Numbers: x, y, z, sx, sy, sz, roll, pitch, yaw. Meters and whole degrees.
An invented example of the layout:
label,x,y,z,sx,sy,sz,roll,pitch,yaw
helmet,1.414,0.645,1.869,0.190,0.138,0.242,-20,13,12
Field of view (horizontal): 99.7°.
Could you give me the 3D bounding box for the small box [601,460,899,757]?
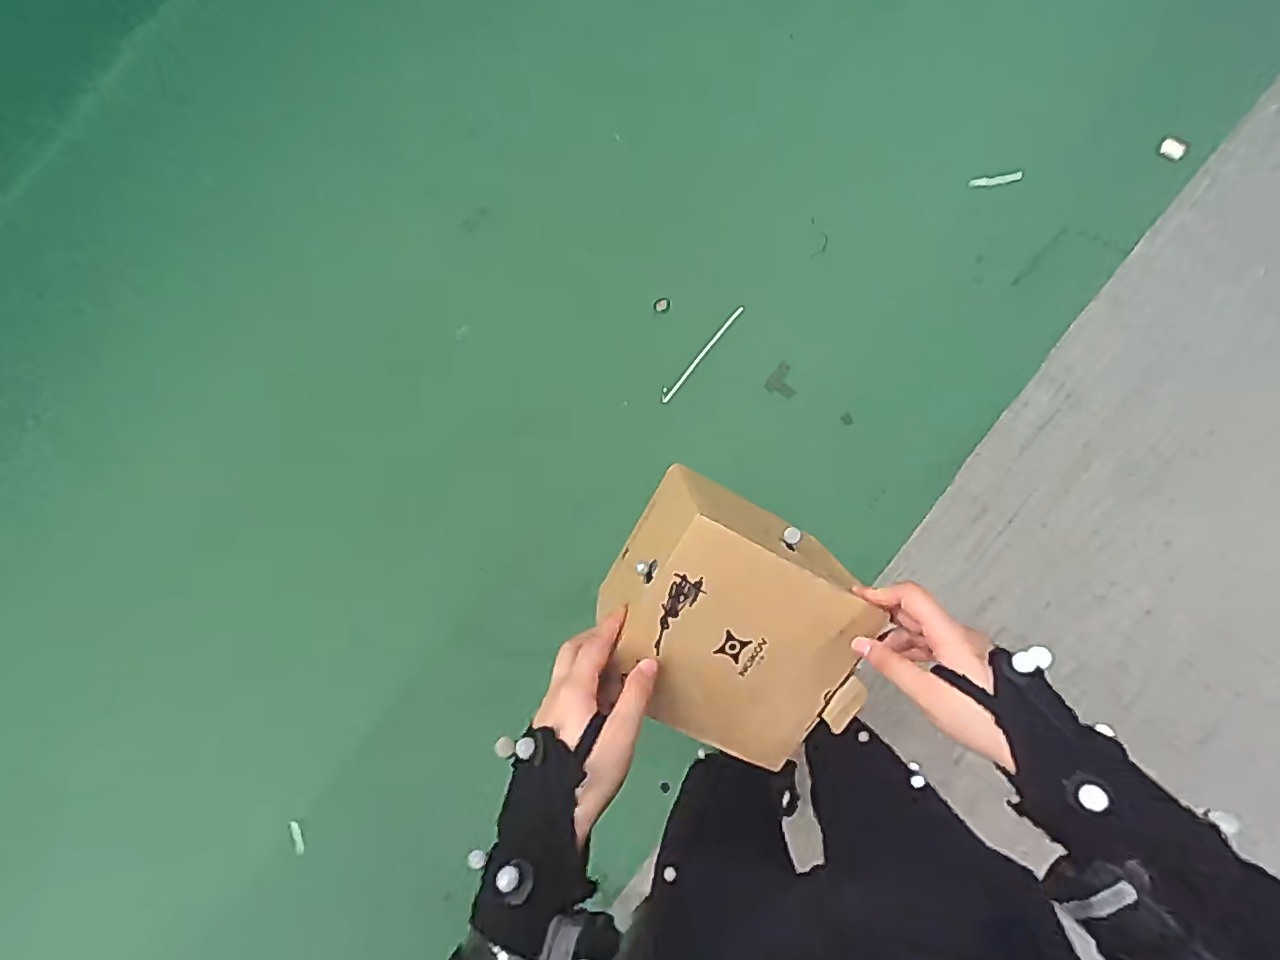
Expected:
label,x,y,z,sx,sy,sz,roll,pitch,yaw
small box,0.080,0.099,0.487,0.179,0.176,0.168,29,101,-10
